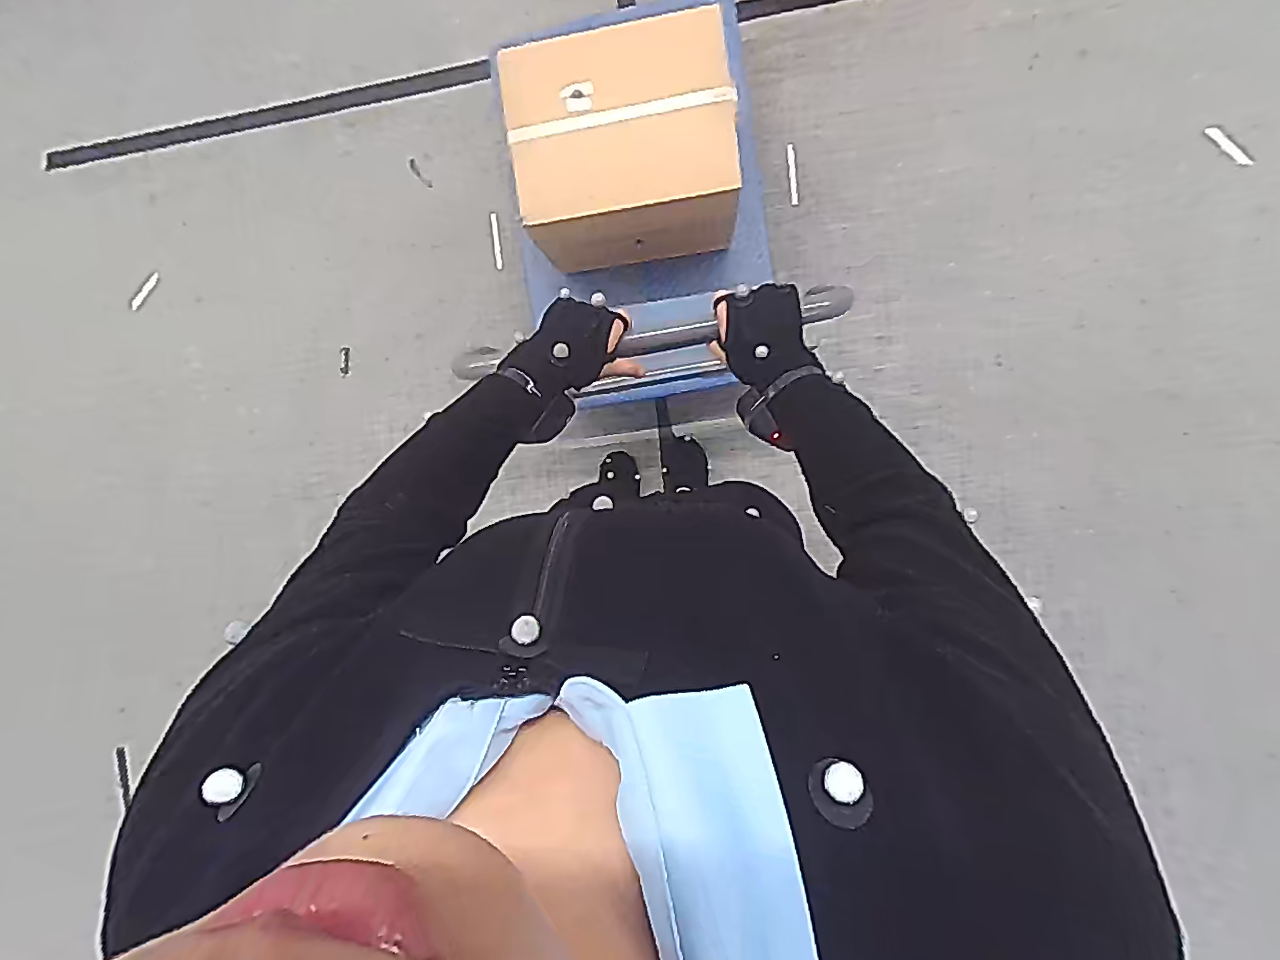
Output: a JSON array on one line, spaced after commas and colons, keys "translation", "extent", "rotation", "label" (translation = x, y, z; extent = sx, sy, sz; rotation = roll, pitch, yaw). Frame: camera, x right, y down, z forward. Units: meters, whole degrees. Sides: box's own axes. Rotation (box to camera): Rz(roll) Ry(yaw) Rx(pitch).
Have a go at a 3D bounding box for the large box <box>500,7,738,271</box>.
[{"translation": [-0.024, -0.661, 1.121], "extent": [0.408, 0.320, 0.320], "rotation": [-7, 93, 7], "label": "large box"}]
